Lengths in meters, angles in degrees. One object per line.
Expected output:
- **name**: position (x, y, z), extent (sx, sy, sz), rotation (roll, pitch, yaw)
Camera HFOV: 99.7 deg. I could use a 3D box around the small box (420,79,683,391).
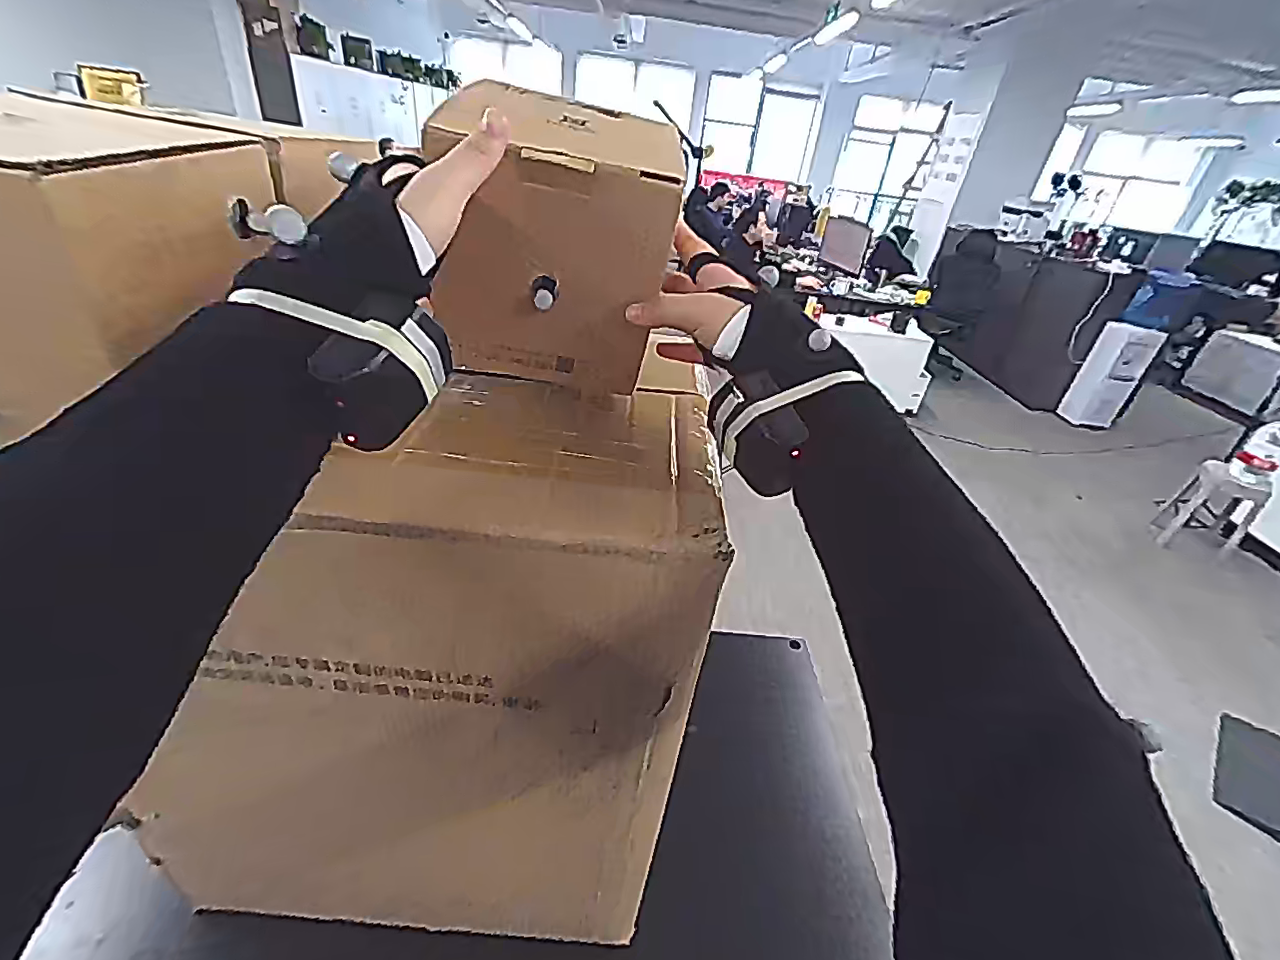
- **small box**: position (-0.067, -0.196, 0.446), extent (0.168, 0.176, 0.179), rotation (9, 44, -9)
